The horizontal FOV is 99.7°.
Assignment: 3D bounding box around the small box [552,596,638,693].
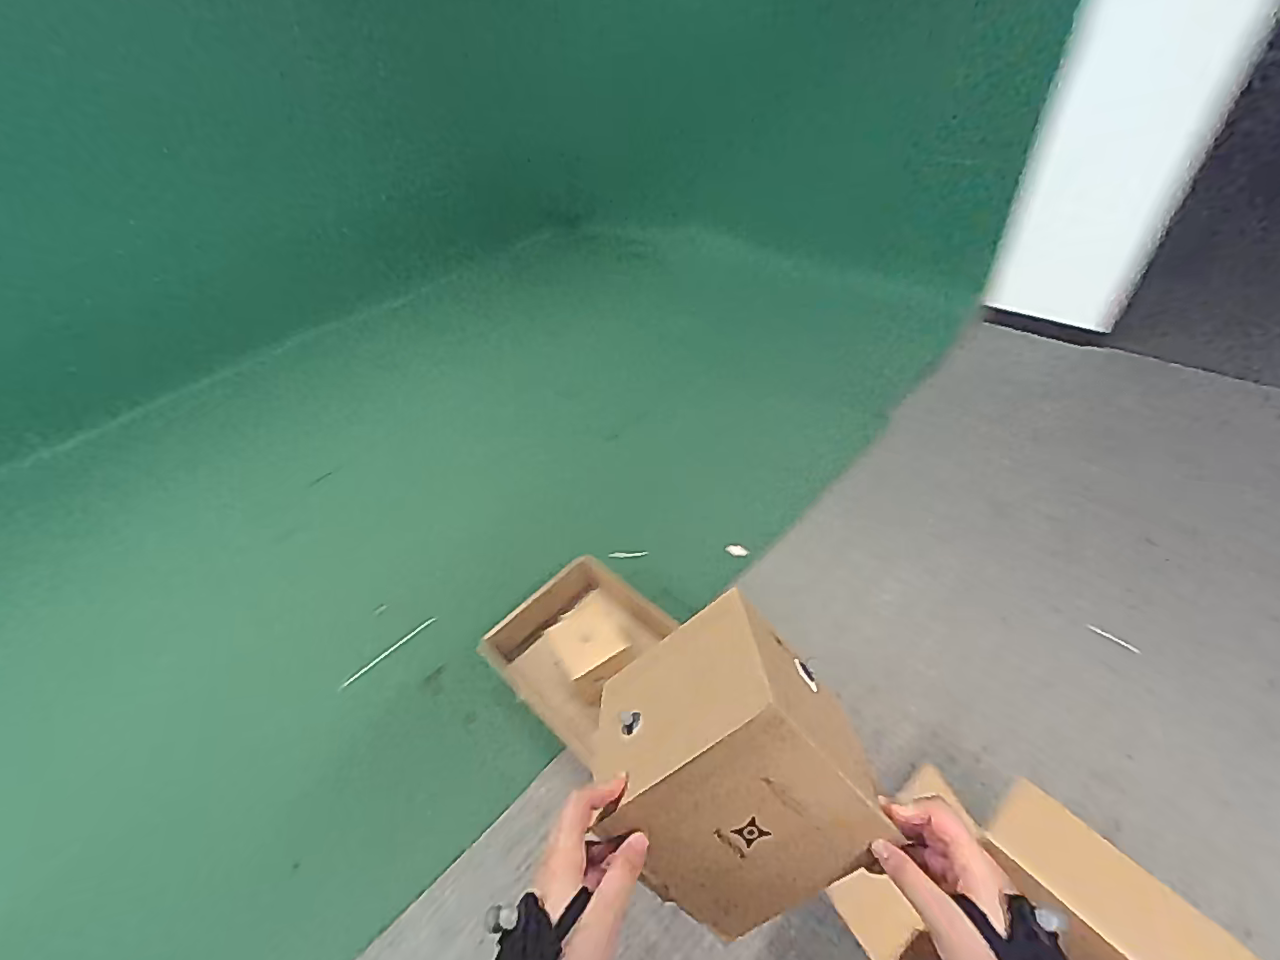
[{"bbox_3d":[-0.121,0.467,1.509,0.168,0.176,0.179,-28,48,-18],"label":"small box"}]
